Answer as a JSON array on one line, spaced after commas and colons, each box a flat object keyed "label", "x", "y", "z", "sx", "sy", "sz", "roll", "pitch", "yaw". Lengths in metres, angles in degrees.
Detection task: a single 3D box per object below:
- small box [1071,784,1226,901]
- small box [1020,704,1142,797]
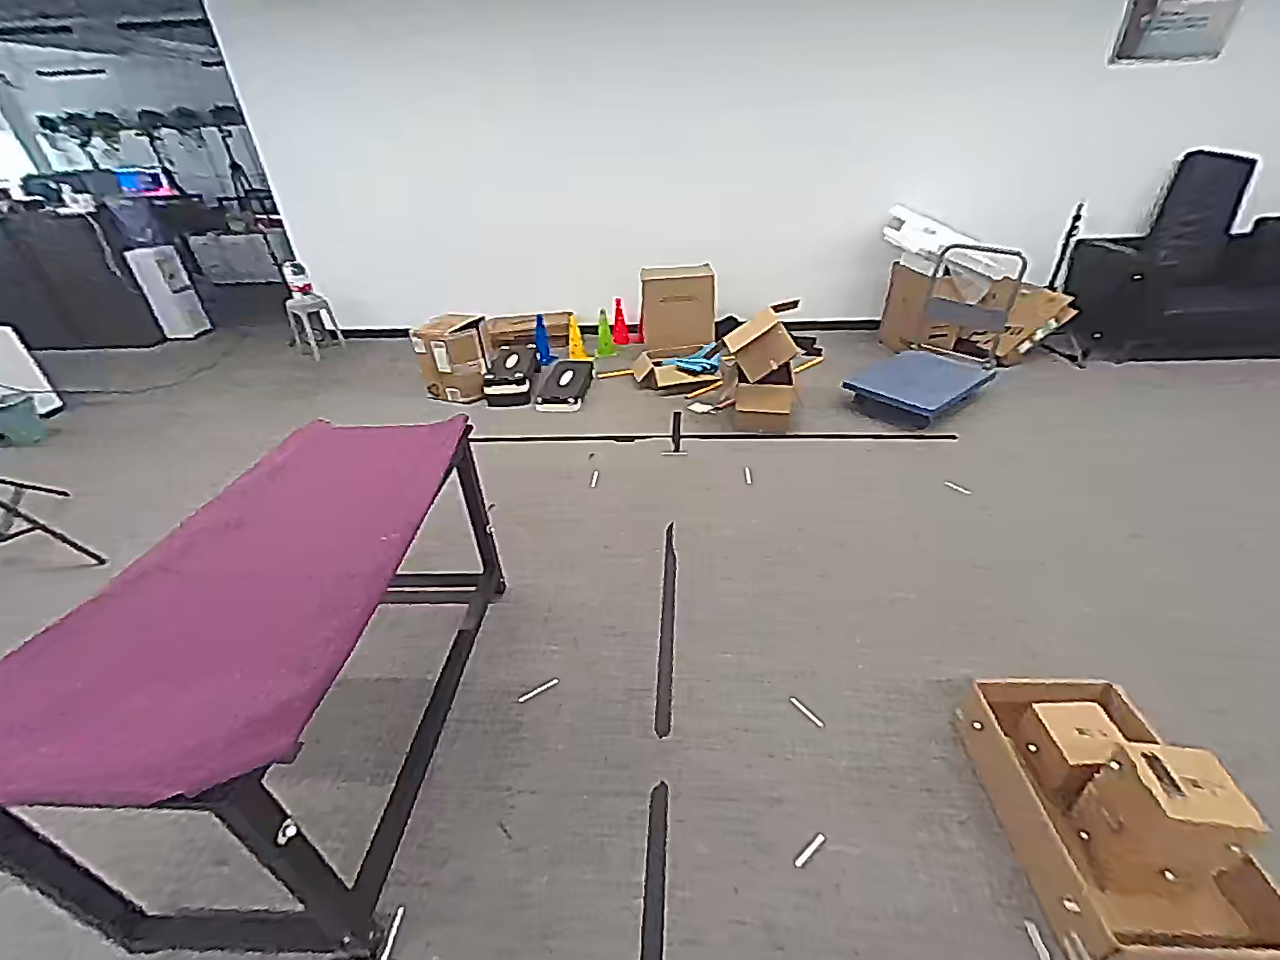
[{"label": "small box", "x": 1.152, "y": 0.834, "z": 1.244, "sx": 0.179, "sy": 0.176, "sz": 0.168, "roll": 1, "pitch": 31, "yaw": 8}, {"label": "small box", "x": 1.141, "y": 0.713, "z": 1.423, "sx": 0.179, "sy": 0.176, "sz": 0.168, "roll": -2, "pitch": 35, "yaw": 2}]
